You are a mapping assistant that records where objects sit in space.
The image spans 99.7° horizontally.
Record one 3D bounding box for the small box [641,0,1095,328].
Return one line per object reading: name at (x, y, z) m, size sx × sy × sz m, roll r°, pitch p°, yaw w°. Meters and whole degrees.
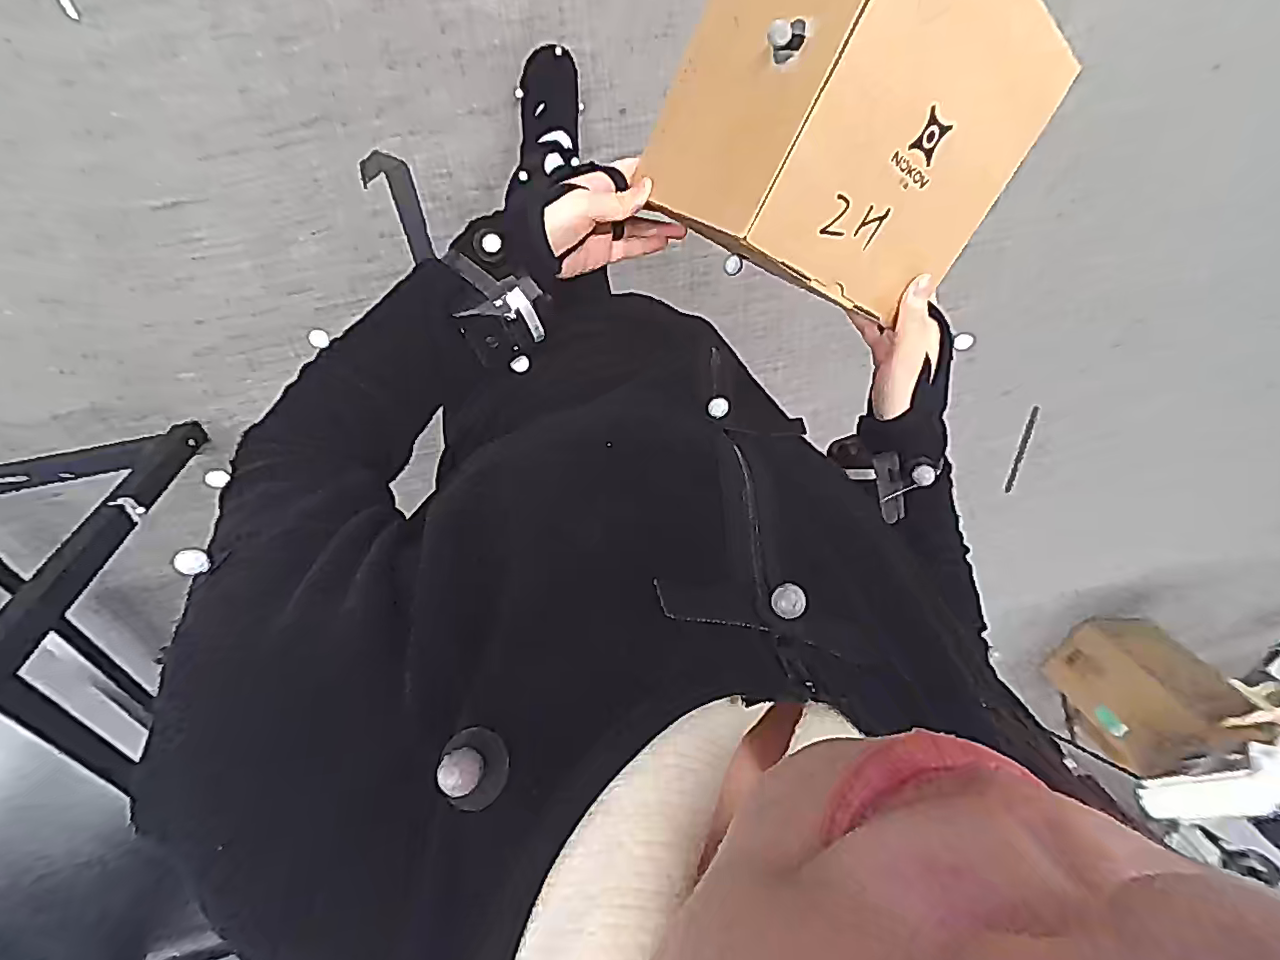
small box at (0.124, -0.231, 0.351) m, size 0.168 × 0.176 × 0.179 m, roll 11°, pitch 118°, yaw -34°
